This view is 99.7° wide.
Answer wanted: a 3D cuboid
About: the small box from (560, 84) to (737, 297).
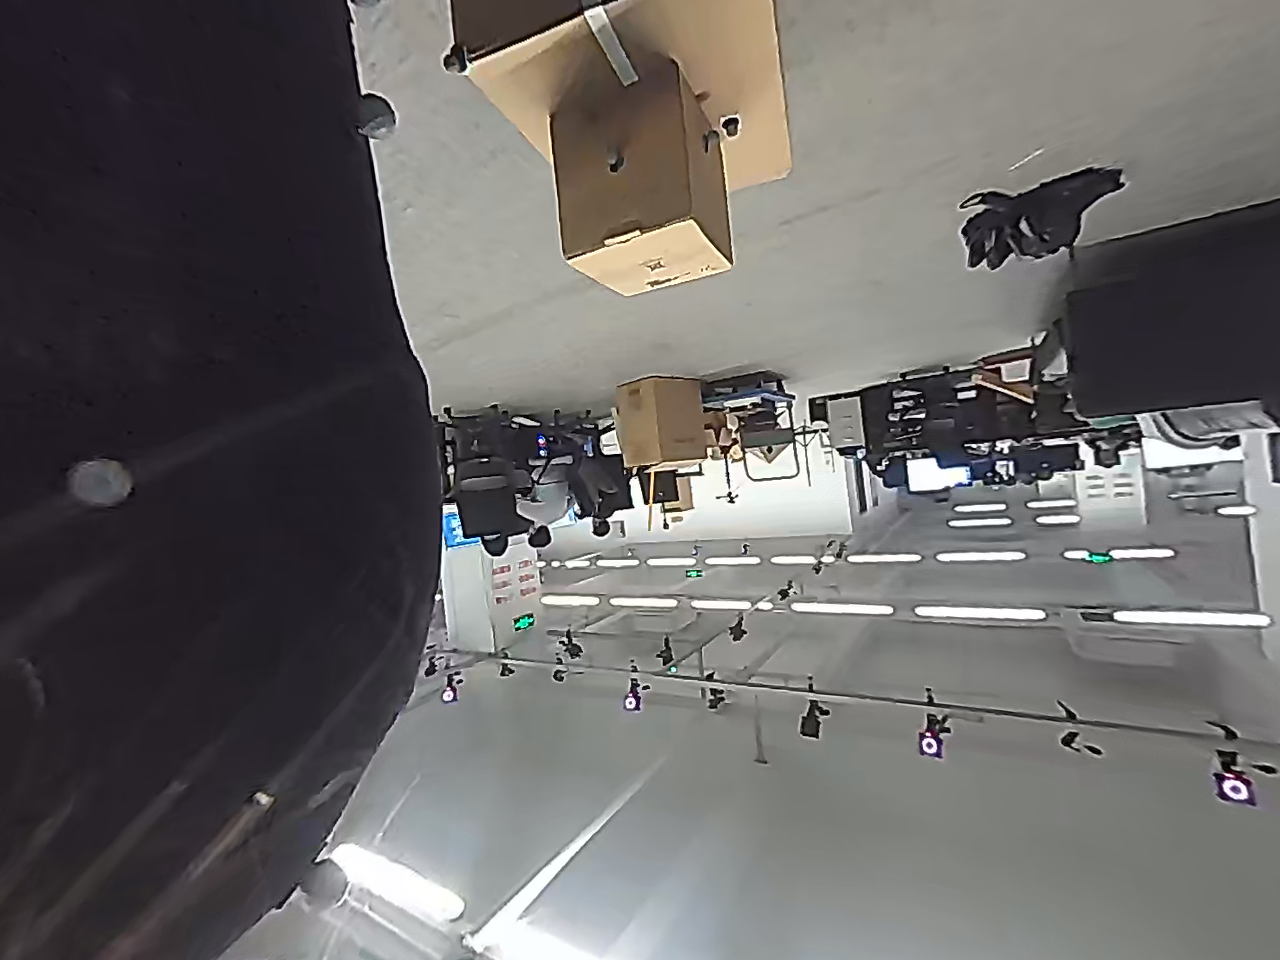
[{"bbox_3d":[0.015,-0.355,0.682,0.168,0.176,0.179,-5,180,25],"label":"small box"}]
